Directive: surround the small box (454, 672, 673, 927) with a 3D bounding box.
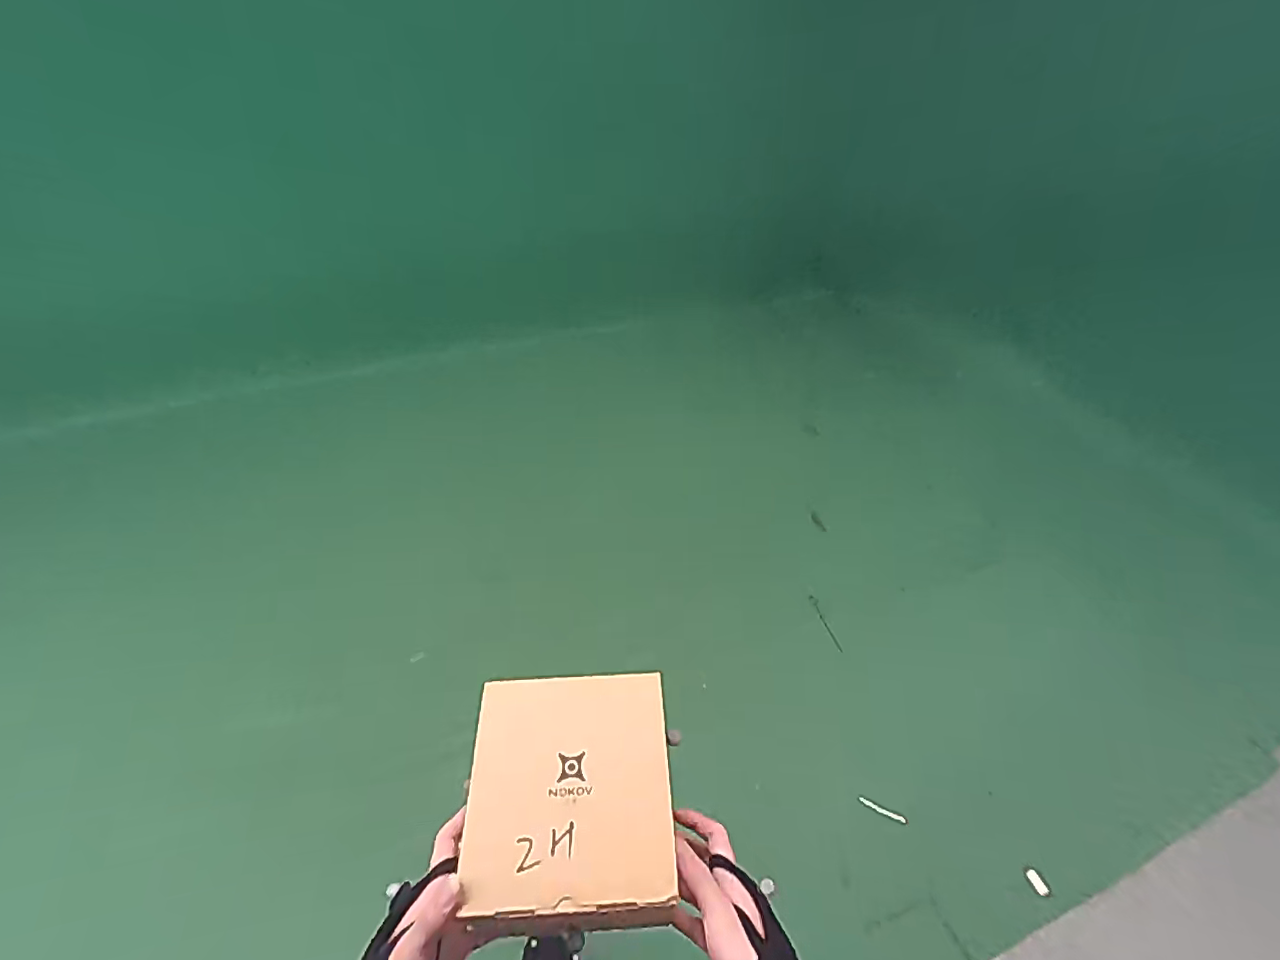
[{"bbox_3d":[-0.060,0.303,0.515,0.168,0.176,0.179,-2,47,-2],"label":"small box"}]
